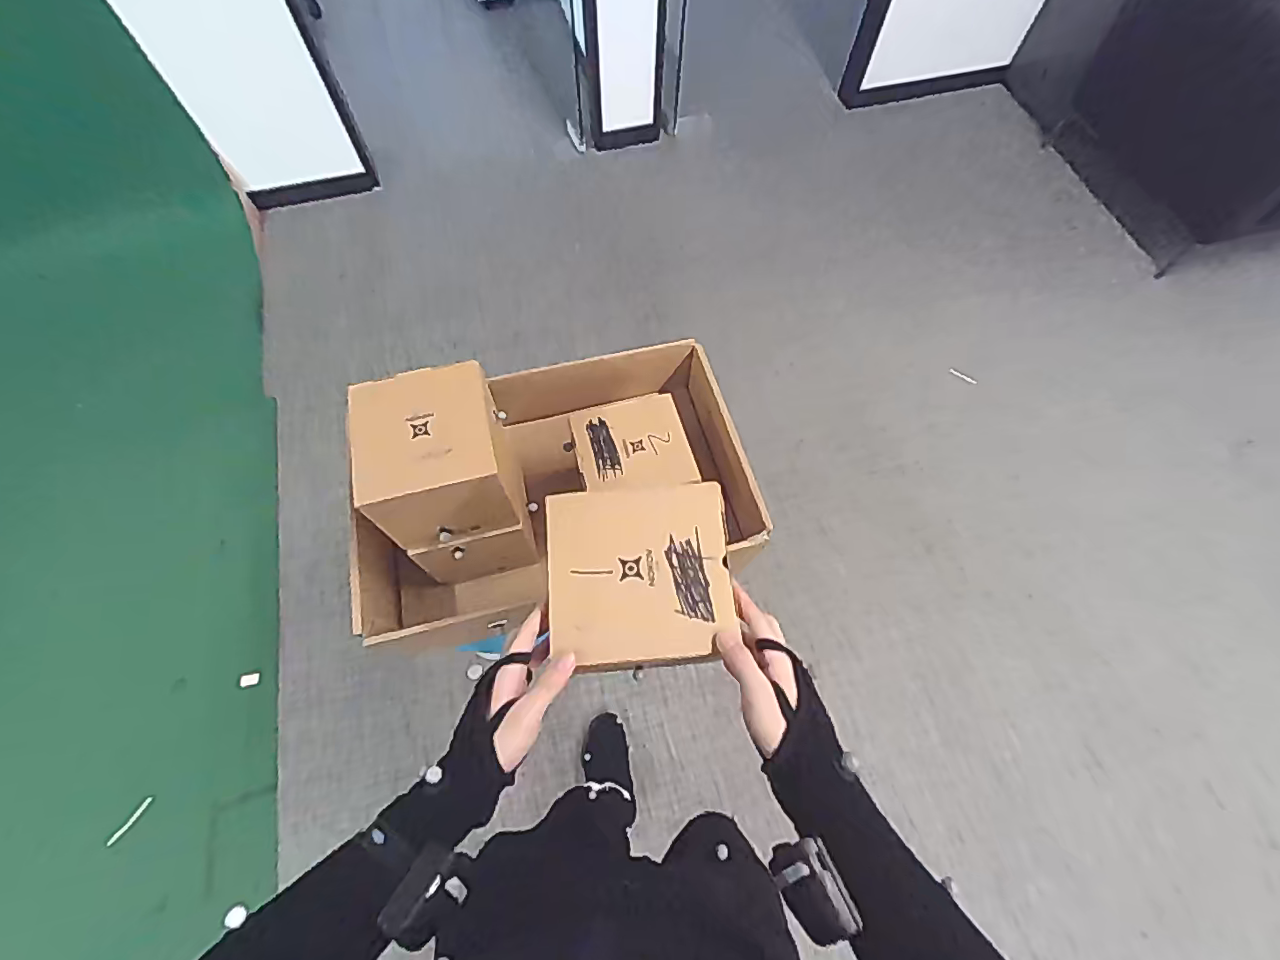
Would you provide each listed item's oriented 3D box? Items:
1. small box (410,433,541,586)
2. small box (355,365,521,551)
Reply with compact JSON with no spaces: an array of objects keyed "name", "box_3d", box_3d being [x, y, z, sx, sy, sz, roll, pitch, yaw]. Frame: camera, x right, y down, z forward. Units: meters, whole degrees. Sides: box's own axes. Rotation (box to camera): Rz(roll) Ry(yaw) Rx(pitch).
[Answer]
[{"name":"small box","box_3d":[-0.265,0.052,0.878,0.168,0.176,0.179,-13,64,-7]},{"name":"small box","box_3d":[-0.267,-0.025,0.735,0.168,0.176,0.179,-13,65,-8]}]
